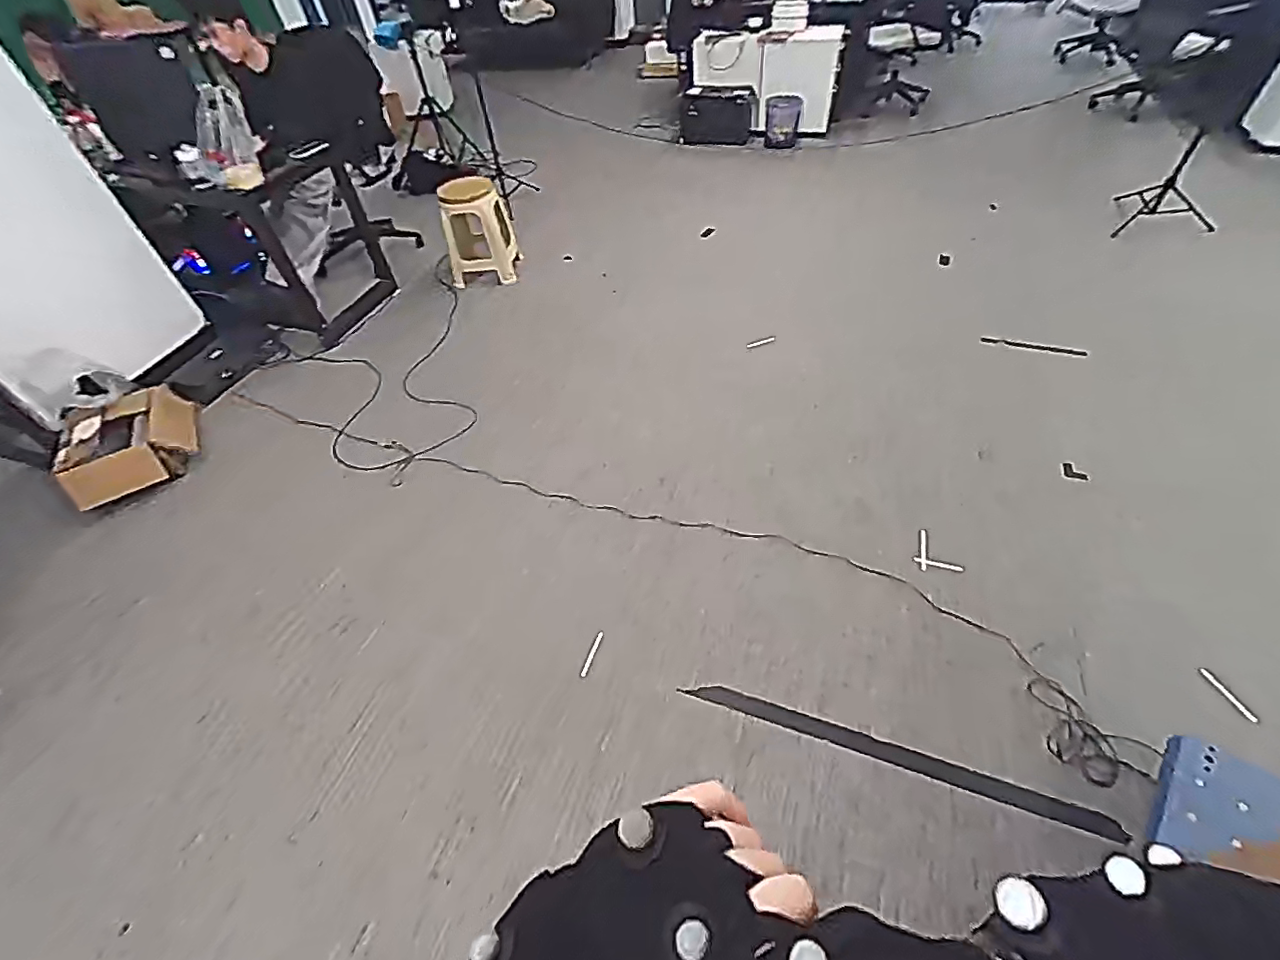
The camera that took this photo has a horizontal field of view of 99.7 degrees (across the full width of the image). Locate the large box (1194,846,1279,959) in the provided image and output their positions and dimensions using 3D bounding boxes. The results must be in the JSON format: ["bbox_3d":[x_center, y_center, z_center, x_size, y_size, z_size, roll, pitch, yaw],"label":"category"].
[{"bbox_3d":[1.131,0.781,0.751,0.408,0.320,0.320,21,55,21],"label":"large box"}]
